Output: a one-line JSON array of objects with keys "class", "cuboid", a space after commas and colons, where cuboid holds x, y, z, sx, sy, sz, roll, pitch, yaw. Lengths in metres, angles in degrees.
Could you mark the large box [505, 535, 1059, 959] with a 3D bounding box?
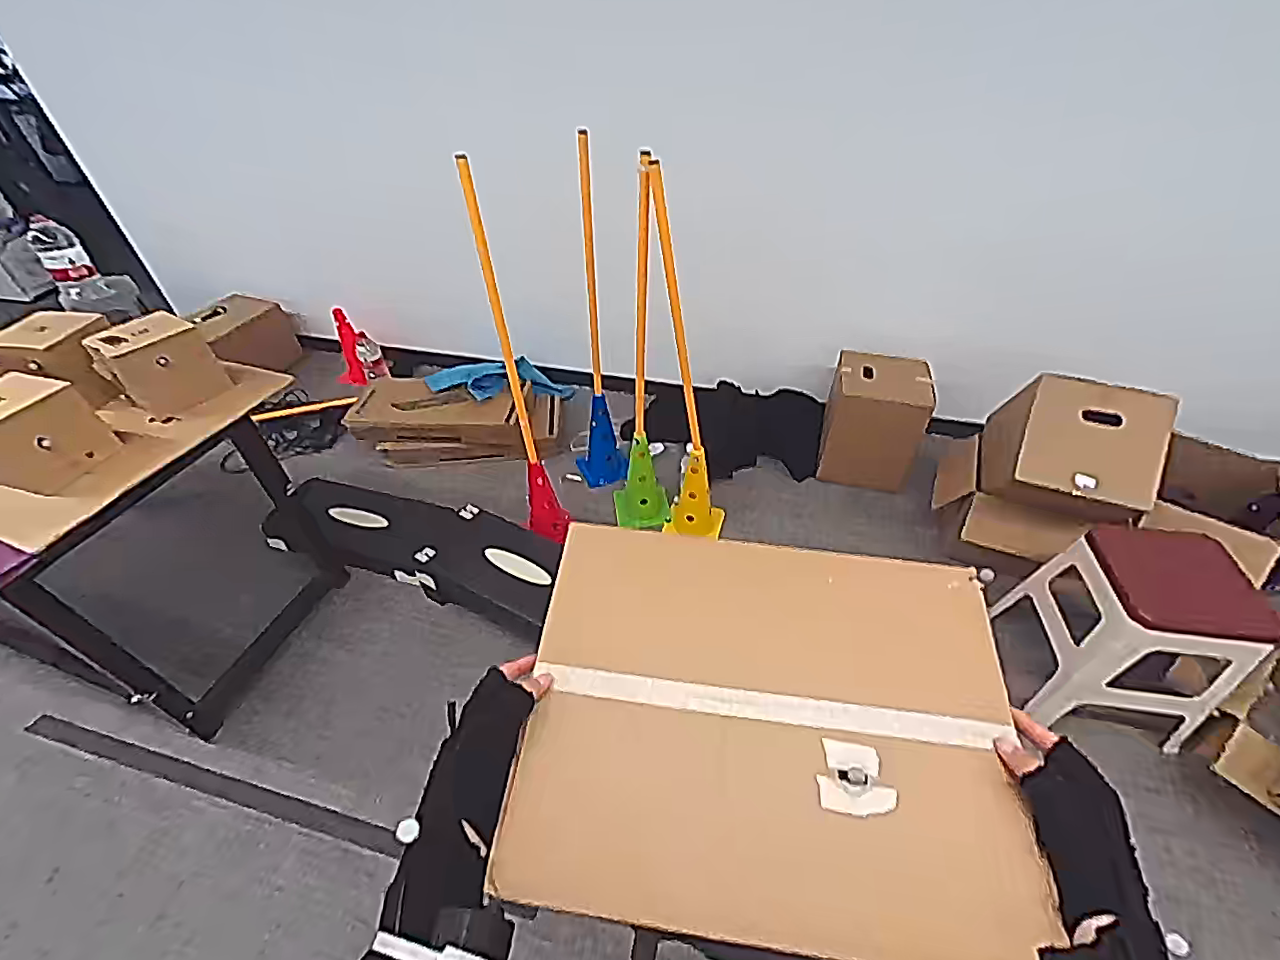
[{"class": "large box", "cuboid": [0.110, 0.286, 0.590, 0.408, 0.320, 0.320, 7, 55, 4]}]
